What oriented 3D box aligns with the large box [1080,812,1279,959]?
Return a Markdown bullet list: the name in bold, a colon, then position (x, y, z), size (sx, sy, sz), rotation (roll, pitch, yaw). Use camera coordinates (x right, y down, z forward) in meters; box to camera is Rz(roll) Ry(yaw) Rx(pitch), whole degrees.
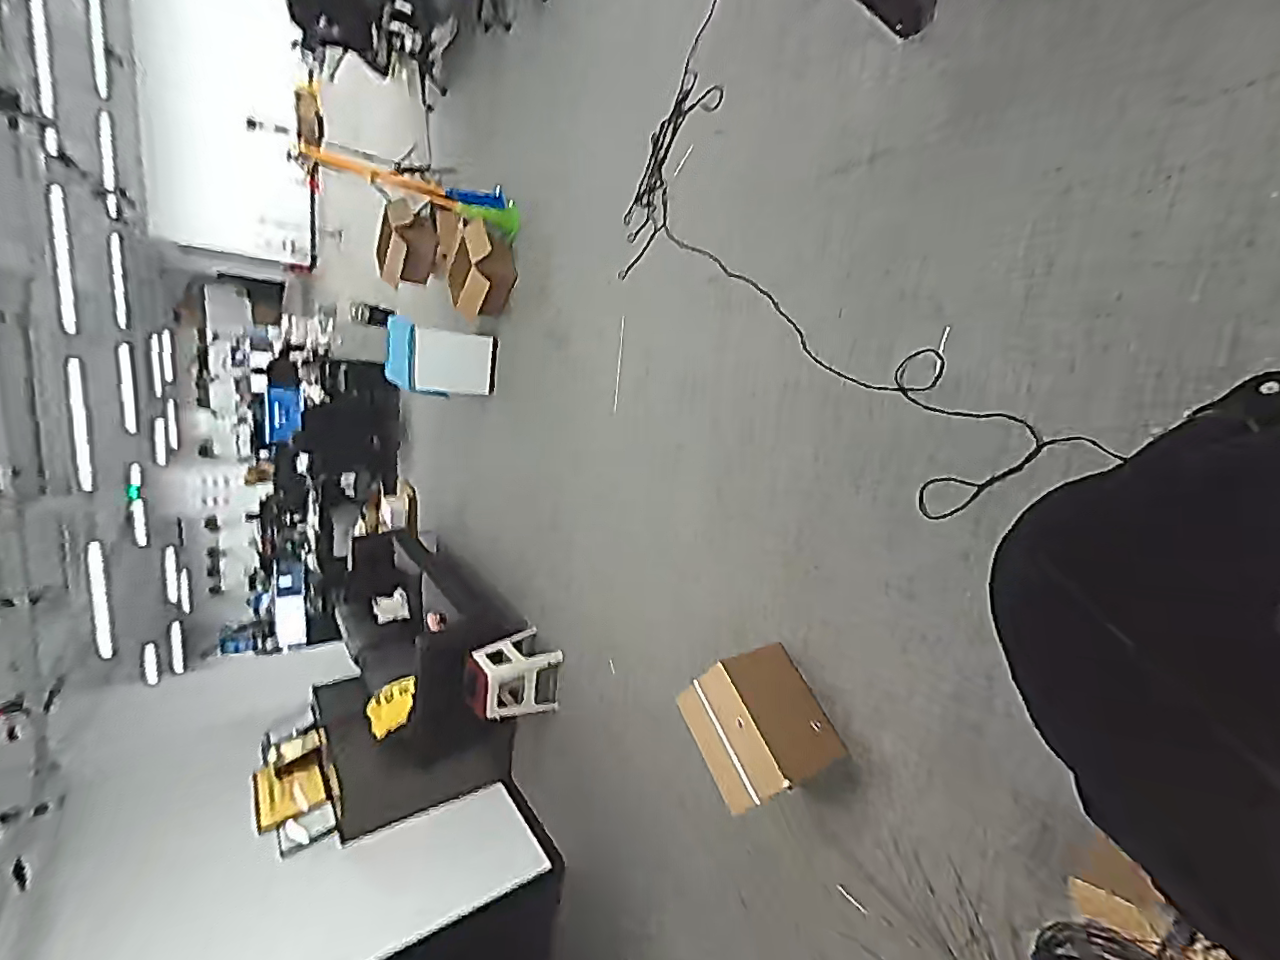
- **large box**: position (1.086, 0.893, 0.974), size (0.408, 0.320, 0.320), rotation (0, 93, 52)
